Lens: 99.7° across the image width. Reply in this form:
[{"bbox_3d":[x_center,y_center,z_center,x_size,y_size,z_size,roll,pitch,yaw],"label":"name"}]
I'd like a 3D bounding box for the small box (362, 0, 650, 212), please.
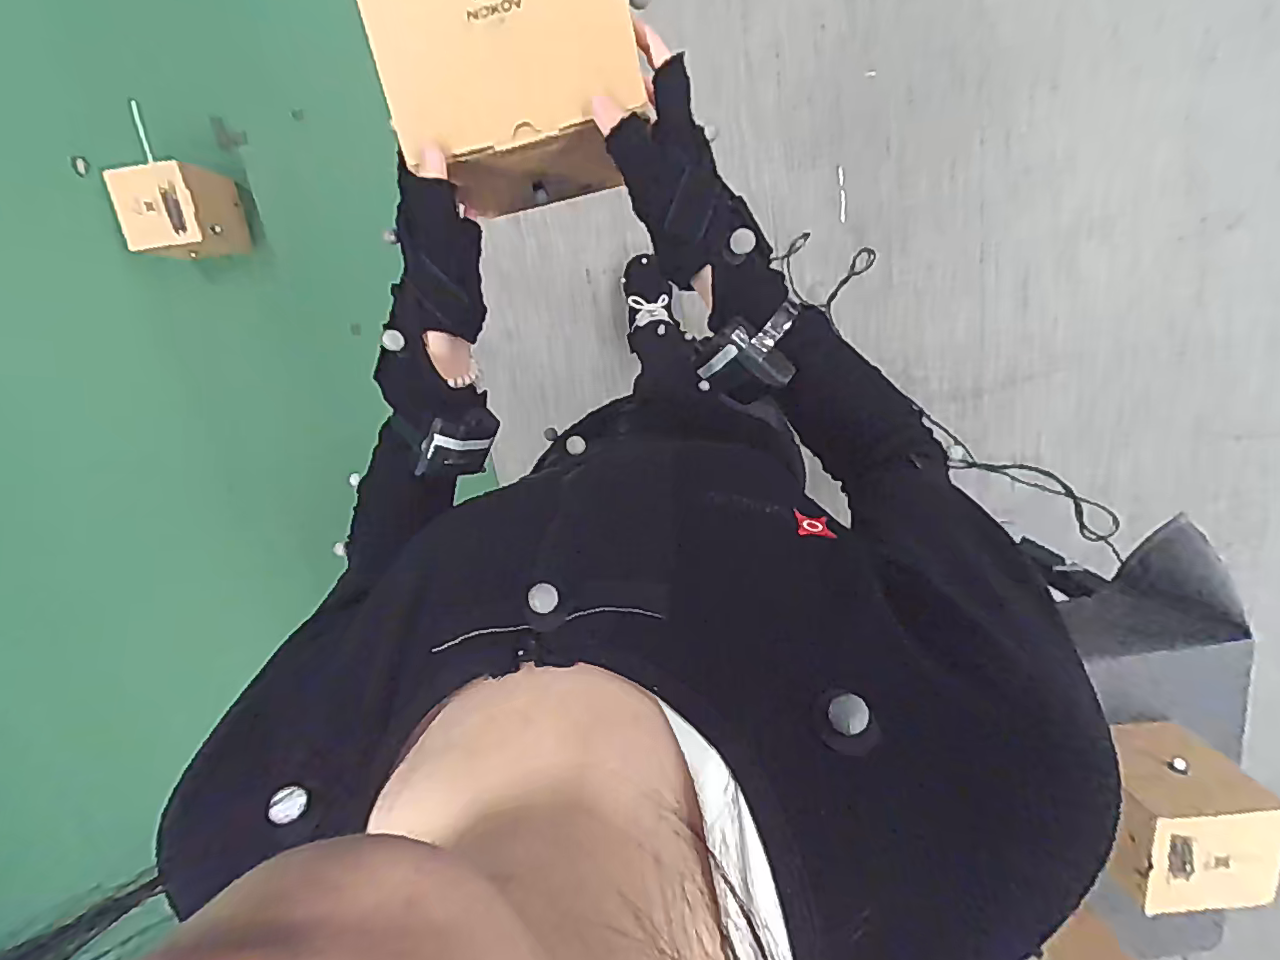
[{"bbox_3d":[-0.091,-0.327,0.409,0.168,0.176,0.179,-12,106,4],"label":"small box"}]

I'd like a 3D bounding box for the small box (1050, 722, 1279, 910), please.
[{"bbox_3d":[0.755,0.487,0.802,0.179,0.176,0.168,-7,105,1],"label":"small box"}]
